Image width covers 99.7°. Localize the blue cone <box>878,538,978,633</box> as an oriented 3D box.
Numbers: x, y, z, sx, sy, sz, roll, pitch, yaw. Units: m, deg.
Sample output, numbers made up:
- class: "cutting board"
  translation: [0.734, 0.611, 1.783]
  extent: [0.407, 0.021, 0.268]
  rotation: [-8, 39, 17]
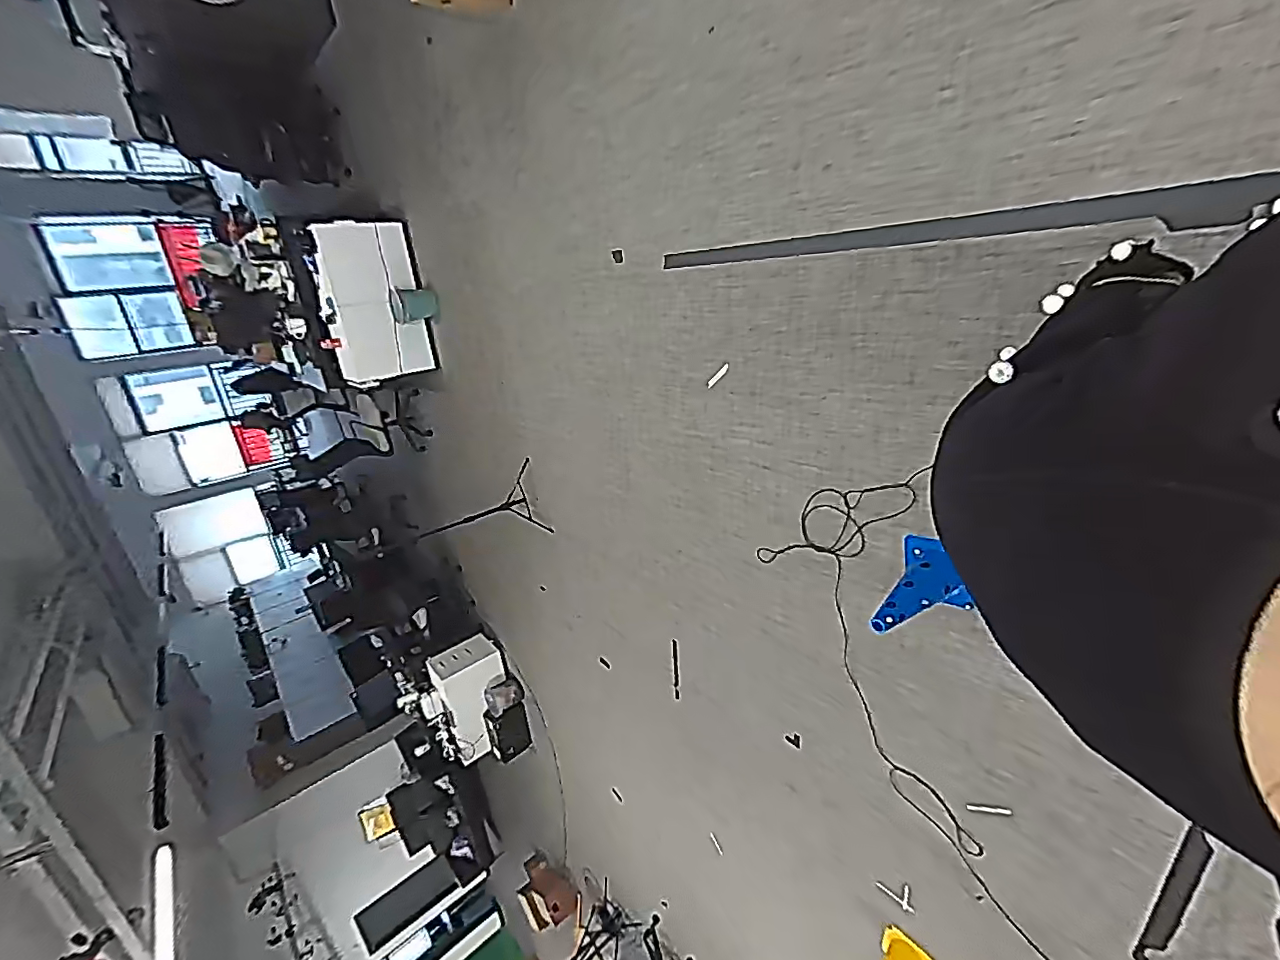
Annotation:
- class: "blue cone"
  translation: [0.749, 0.314, 1.474]
  extent: [0.192, 0.380, 0.193]
  rotation: [13, 117, 49]
